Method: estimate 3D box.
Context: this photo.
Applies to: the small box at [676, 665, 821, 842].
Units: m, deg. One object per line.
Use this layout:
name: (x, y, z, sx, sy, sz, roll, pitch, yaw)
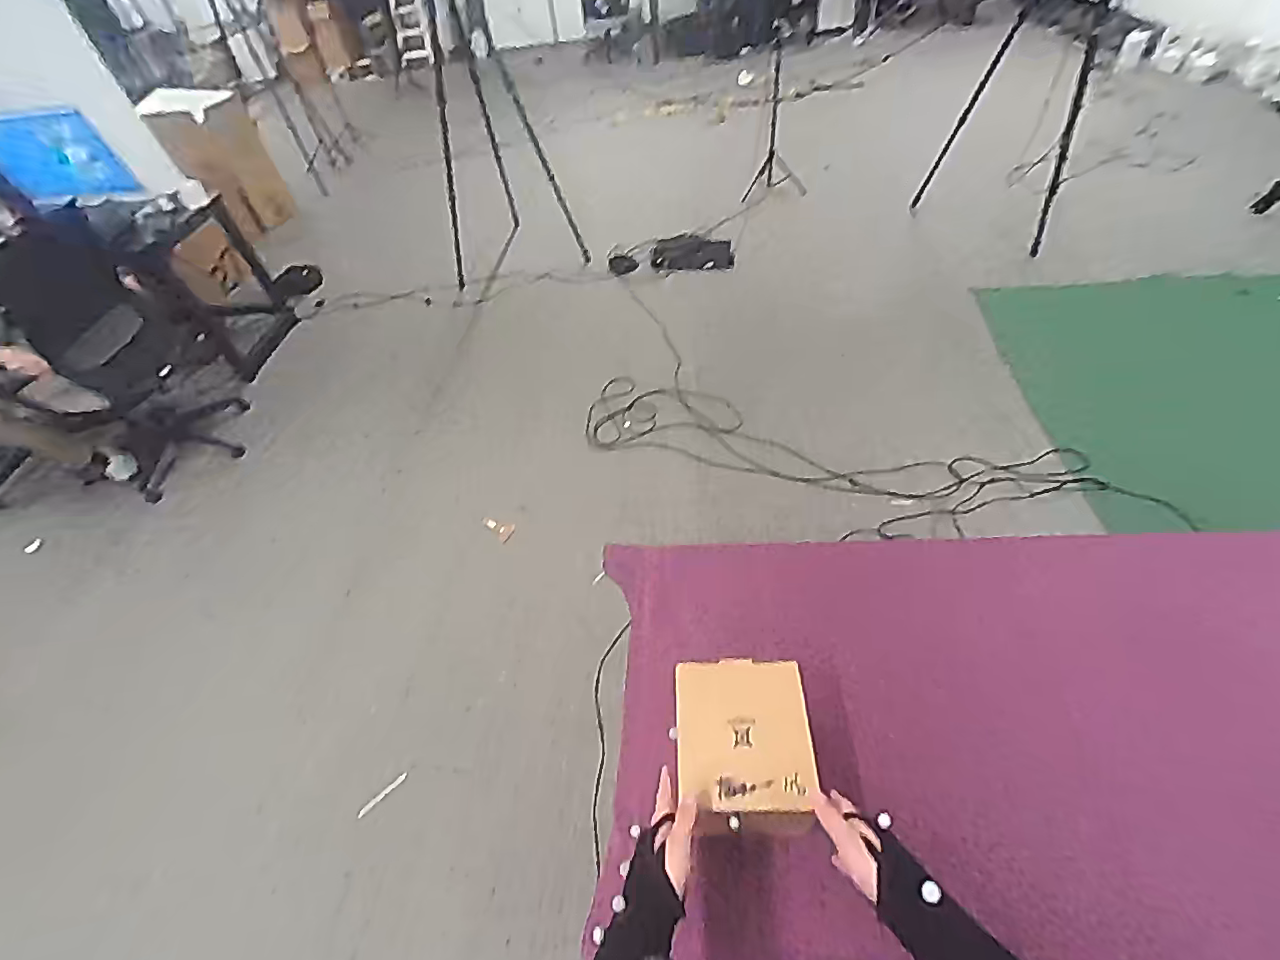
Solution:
small box: (0.134, 0.368, 0.728, 0.168, 0.176, 0.179, -3, 48, 6)
